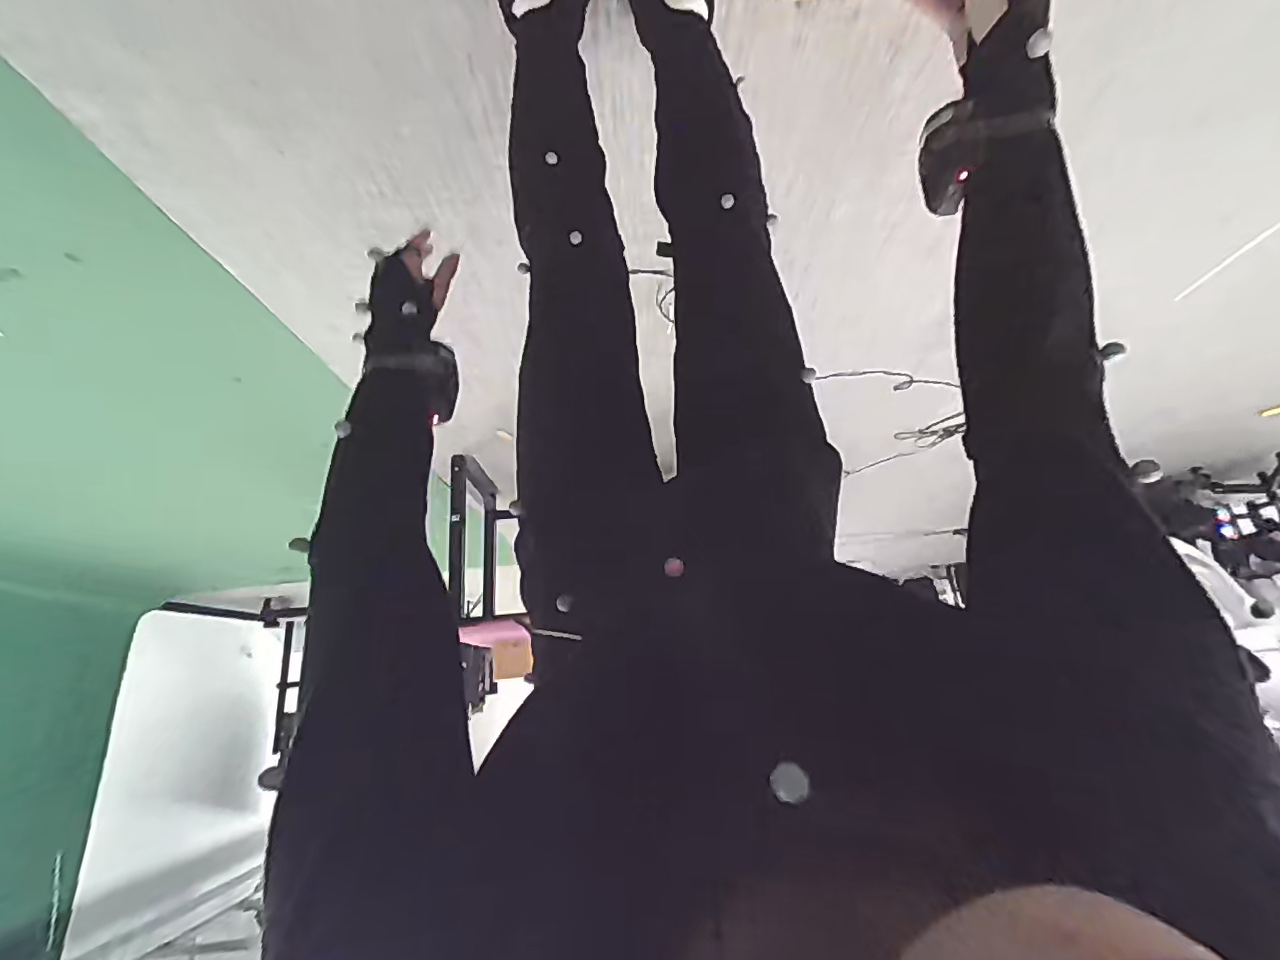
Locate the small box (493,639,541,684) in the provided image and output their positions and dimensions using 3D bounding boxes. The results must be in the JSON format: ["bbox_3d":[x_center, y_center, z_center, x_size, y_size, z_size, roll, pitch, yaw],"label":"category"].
[{"bbox_3d":[-0.534,0.792,2.357,0.168,0.176,0.179,-8,159,1],"label":"small box"}]
